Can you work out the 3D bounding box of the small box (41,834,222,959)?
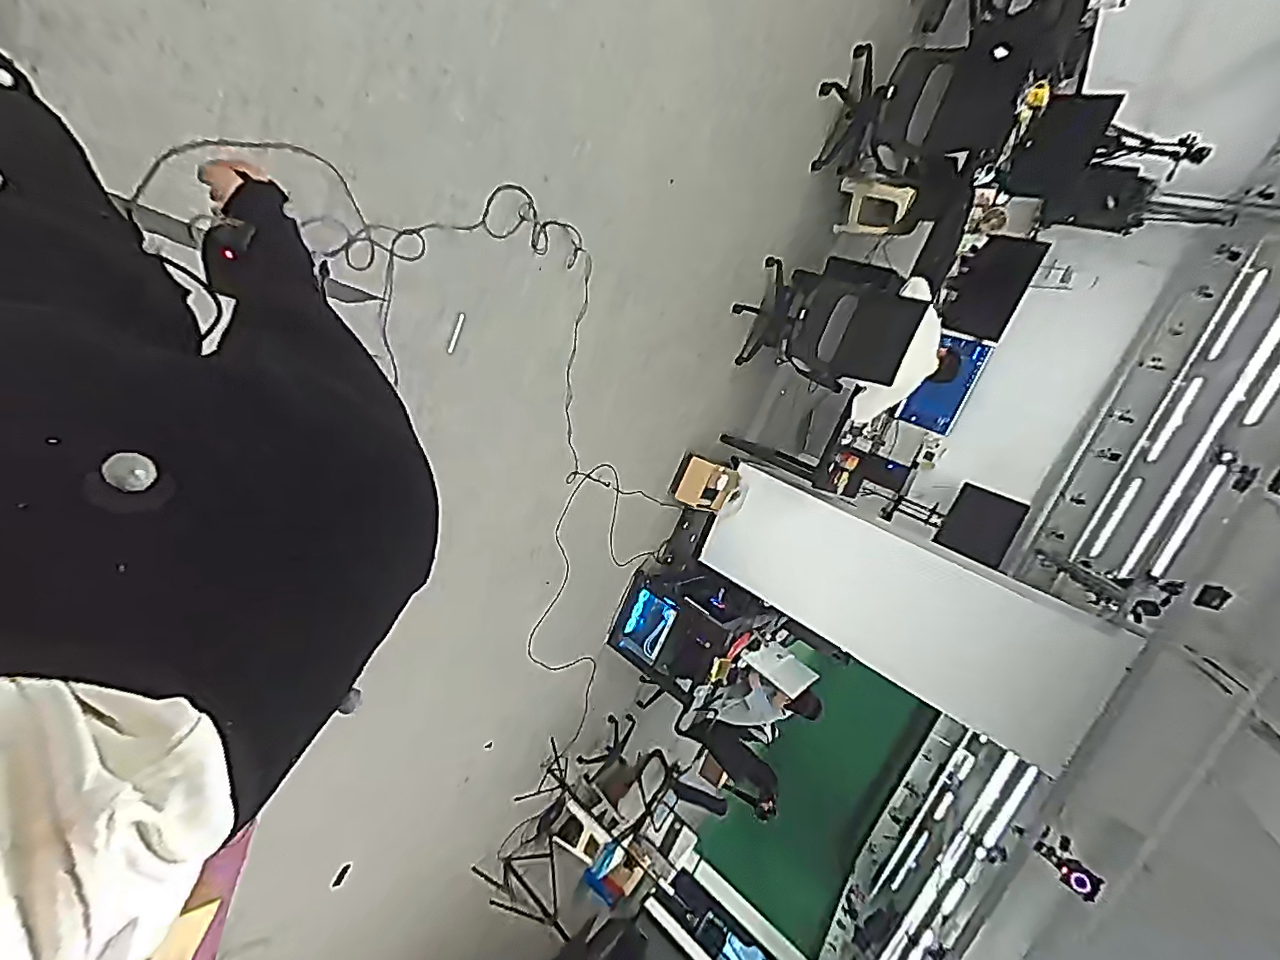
[{"bbox_3d":[-0.857,0.753,0.910,0.168,0.176,0.179,24,94,-59],"label":"small box"}]
